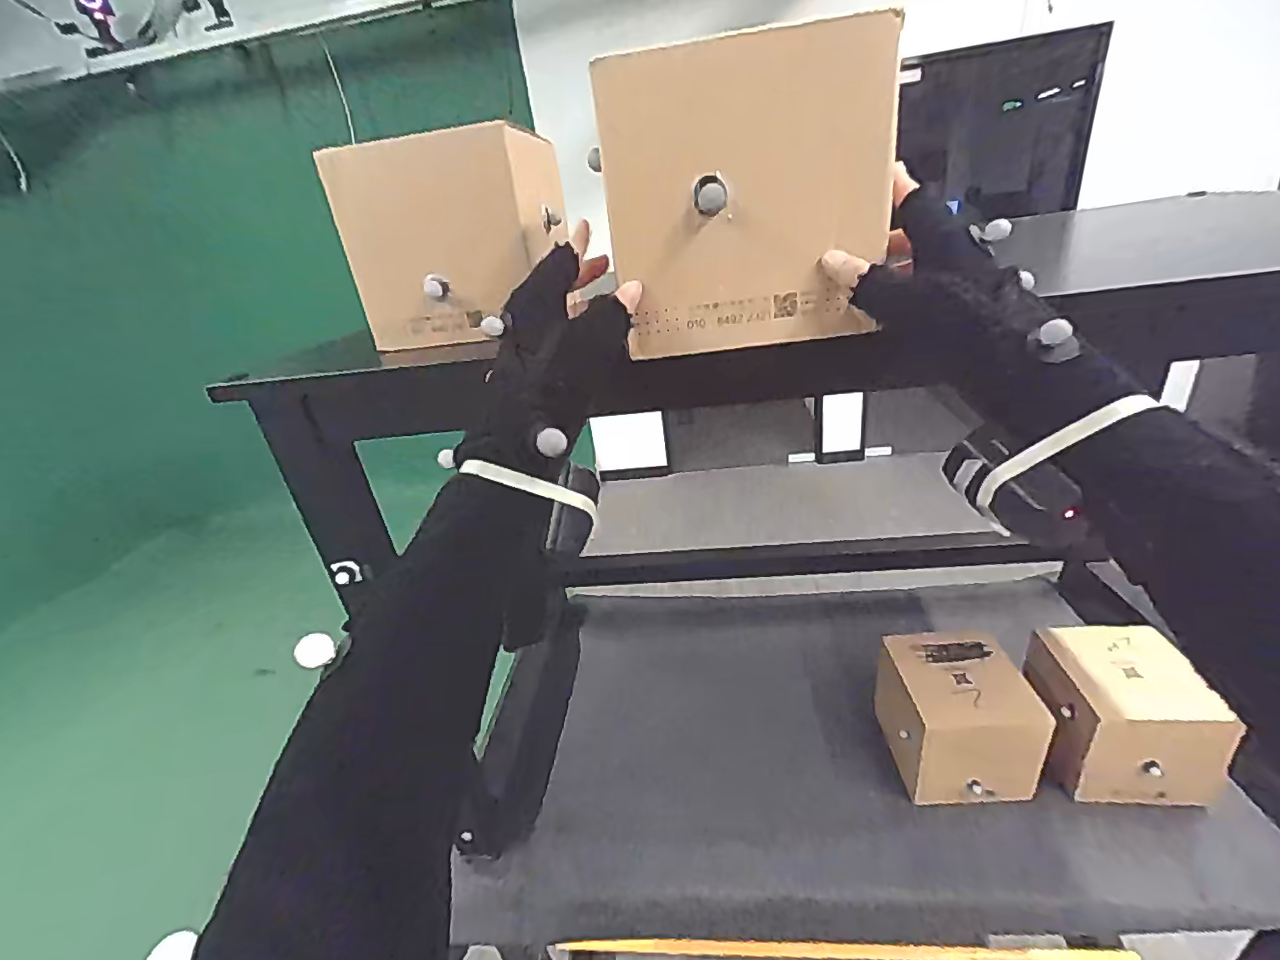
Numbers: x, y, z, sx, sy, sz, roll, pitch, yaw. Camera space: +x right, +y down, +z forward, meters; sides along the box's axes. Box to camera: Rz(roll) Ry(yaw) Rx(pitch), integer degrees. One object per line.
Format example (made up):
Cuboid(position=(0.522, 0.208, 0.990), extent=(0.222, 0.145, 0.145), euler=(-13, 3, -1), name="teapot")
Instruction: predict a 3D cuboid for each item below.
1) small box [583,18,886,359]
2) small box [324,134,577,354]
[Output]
Cuboid(position=(0.064, -0.191, 0.395), extent=(0.168, 0.176, 0.179), euler=(-6, 25, 6), name="small box")
Cuboid(position=(-0.168, -0.233, 0.547), extent=(0.168, 0.176, 0.179), euler=(-4, 27, 9), name="small box")
